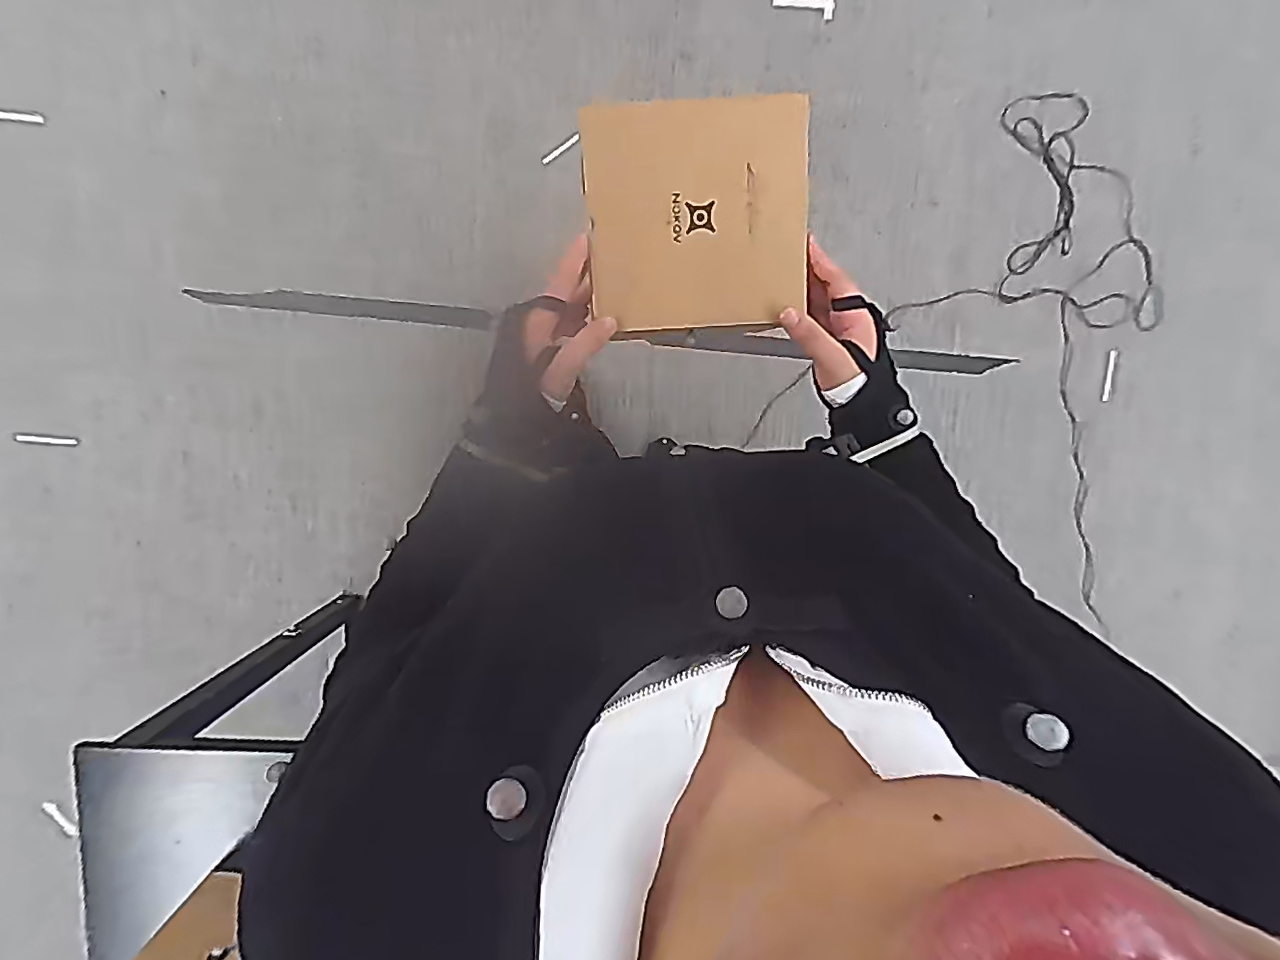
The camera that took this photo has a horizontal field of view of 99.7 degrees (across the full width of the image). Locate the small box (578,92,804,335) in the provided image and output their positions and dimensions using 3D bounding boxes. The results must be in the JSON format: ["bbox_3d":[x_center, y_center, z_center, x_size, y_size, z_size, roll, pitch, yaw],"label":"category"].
[{"bbox_3d":[0.043,-0.229,0.508,0.179,0.176,0.168,-4,103,0],"label":"small box"}]
